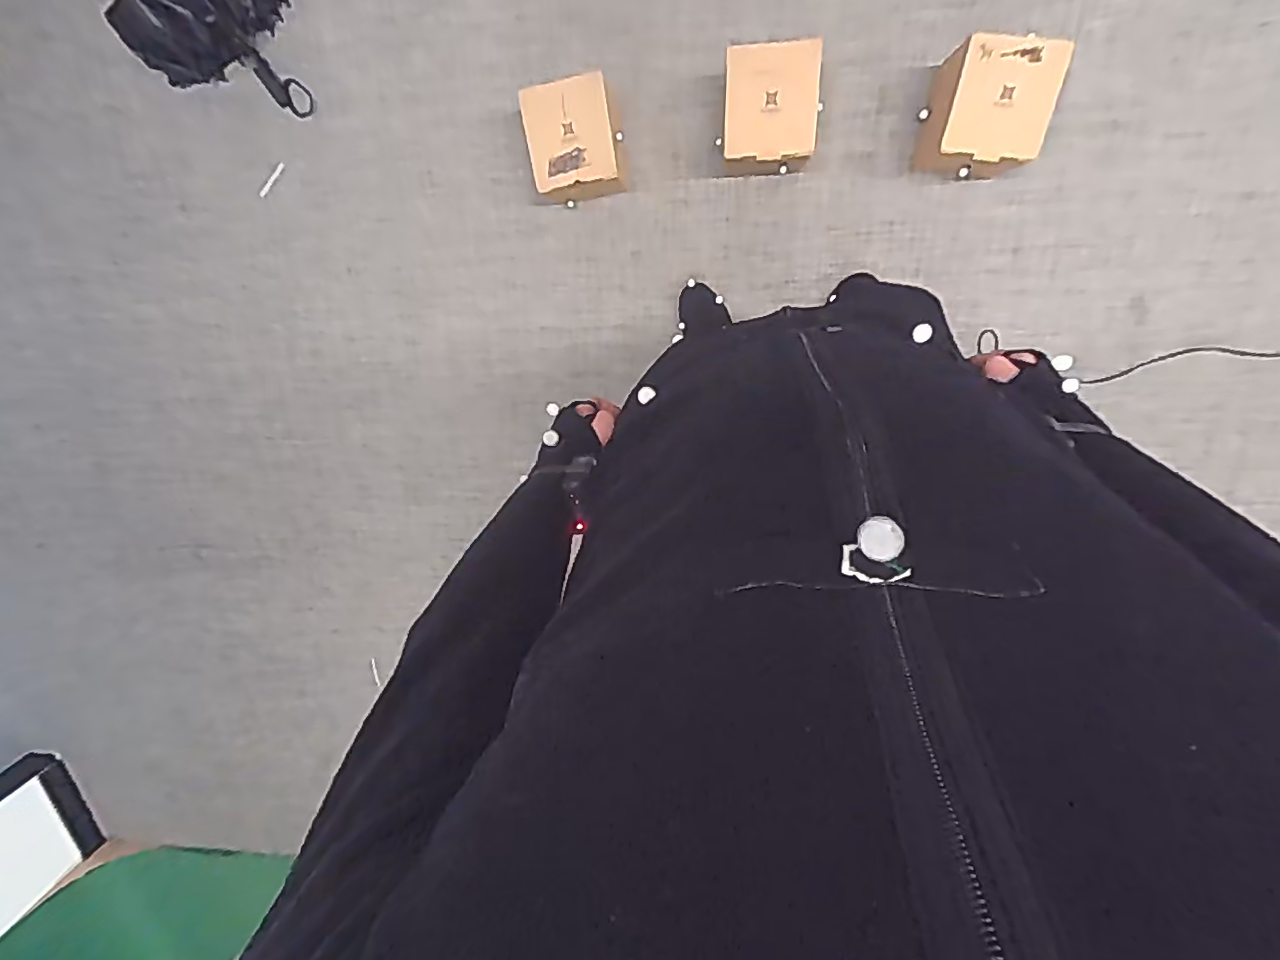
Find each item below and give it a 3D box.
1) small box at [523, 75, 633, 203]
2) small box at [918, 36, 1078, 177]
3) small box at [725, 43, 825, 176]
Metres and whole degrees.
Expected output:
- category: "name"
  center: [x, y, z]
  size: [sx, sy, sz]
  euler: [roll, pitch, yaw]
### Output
- category: "small box"
  center: [-0.116, -0.674, 1.096]
  size: [0.168, 0.176, 0.179]
  euler: [-6, 108, 10]
- category: "small box"
  center: [0.636, -0.670, 0.992]
  size: [0.168, 0.176, 0.179]
  euler: [10, 112, 5]
- category: "small box"
  center: [0.250, -0.696, 1.039]
  size: [0.168, 0.176, 0.179]
  euler: [0, 109, 7]
